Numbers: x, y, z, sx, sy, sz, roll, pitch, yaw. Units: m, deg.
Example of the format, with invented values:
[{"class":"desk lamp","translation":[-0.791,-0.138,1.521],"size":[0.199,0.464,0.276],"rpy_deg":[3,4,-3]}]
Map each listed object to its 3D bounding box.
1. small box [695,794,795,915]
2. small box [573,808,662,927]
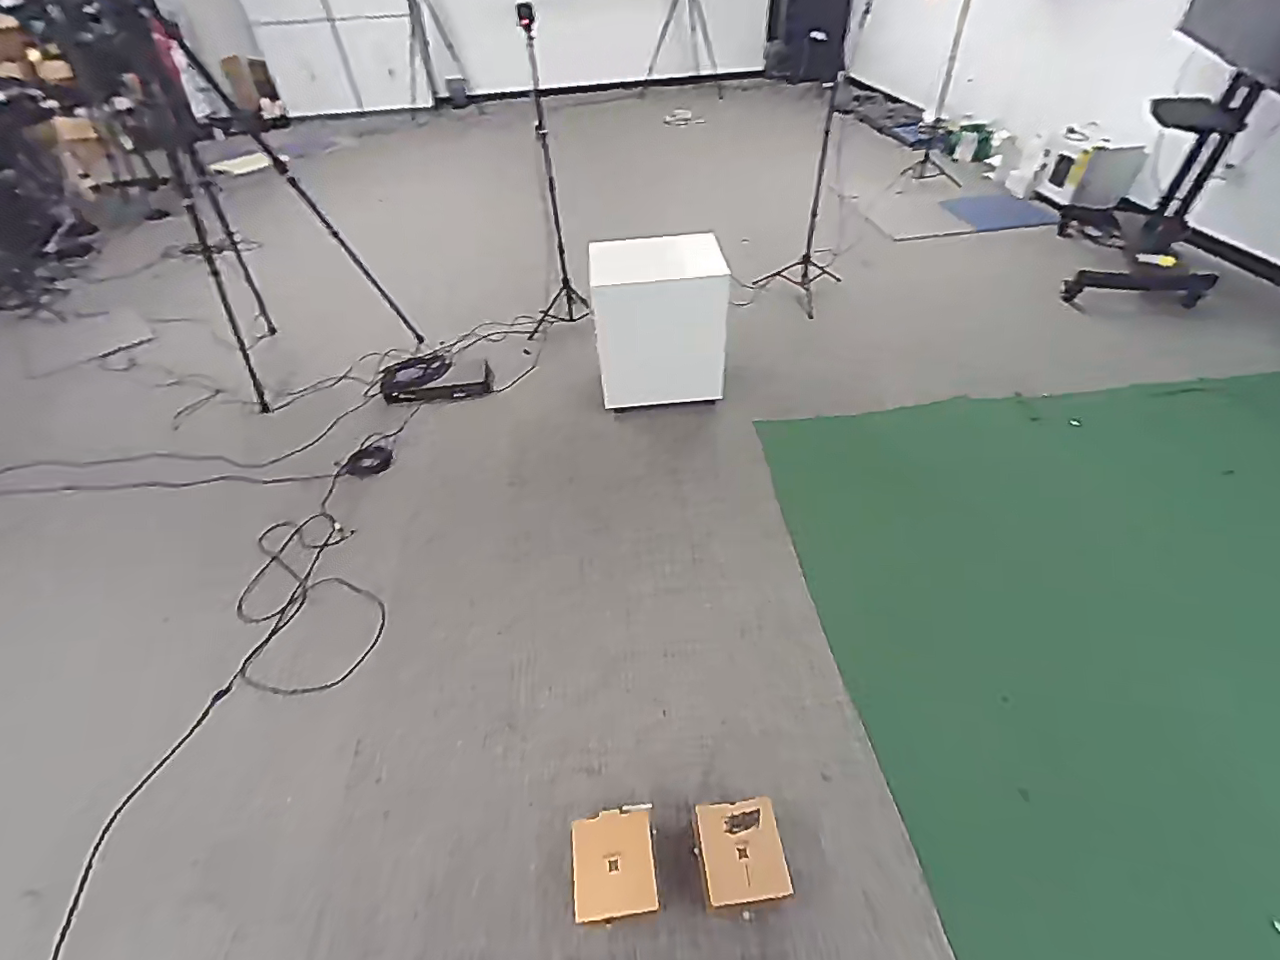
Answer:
[{"class":"small box","translation":[0.215,0.804,1.161],"size":[0.168,0.176,0.179],"rpy_deg":[-7,46,-3]},{"class":"small box","translation":[-0.047,0.830,1.153],"size":[0.168,0.176,0.179],"rpy_deg":[-7,45,-4]}]
